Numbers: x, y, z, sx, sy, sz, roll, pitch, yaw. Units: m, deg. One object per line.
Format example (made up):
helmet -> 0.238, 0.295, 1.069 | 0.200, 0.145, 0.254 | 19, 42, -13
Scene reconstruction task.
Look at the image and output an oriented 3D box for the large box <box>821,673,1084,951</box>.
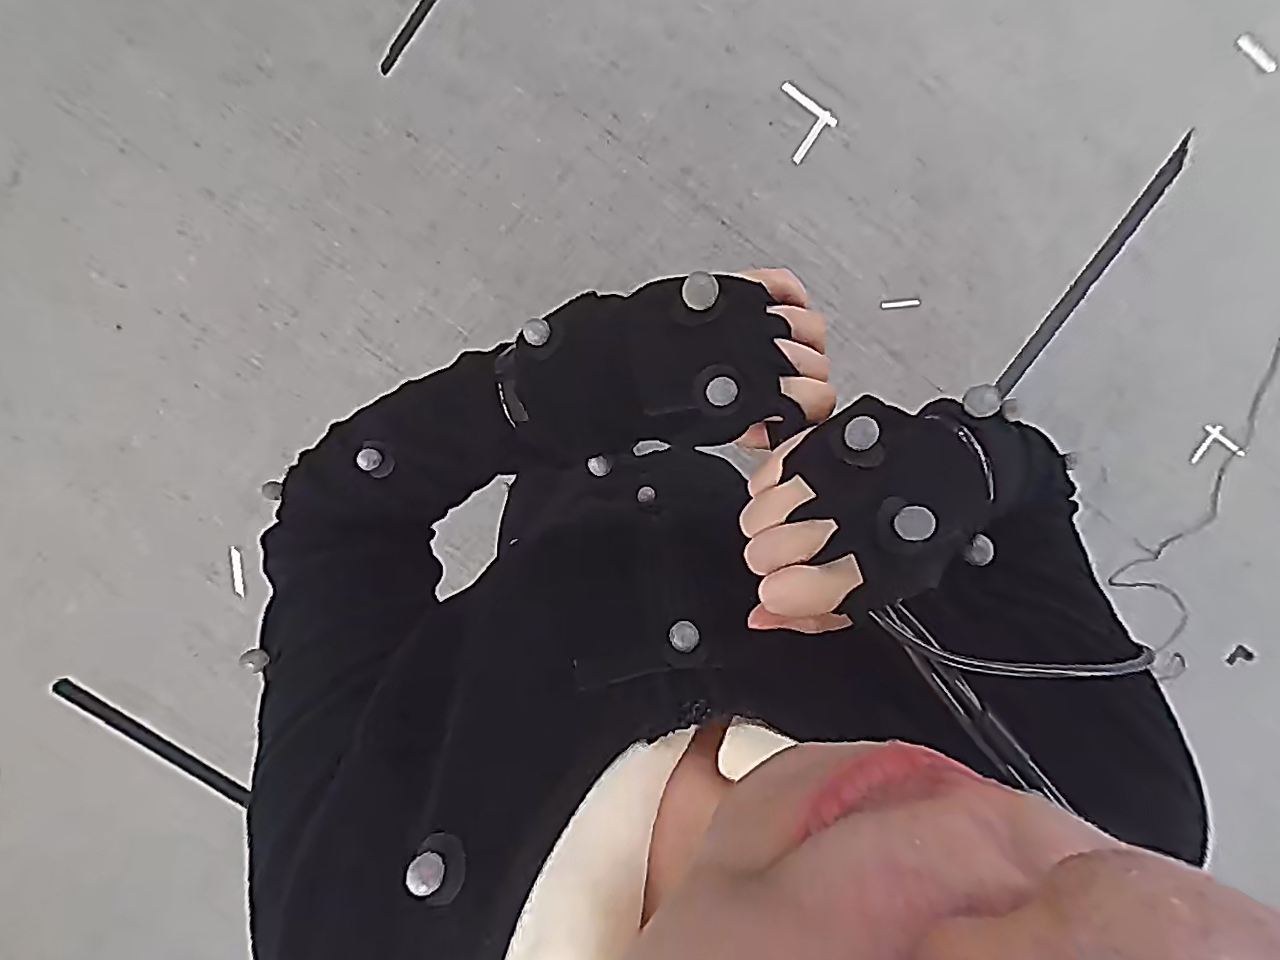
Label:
large box -> 0.695, 0.741, 1.265 | 0.320, 0.320, 0.408 | 26, 93, -4
